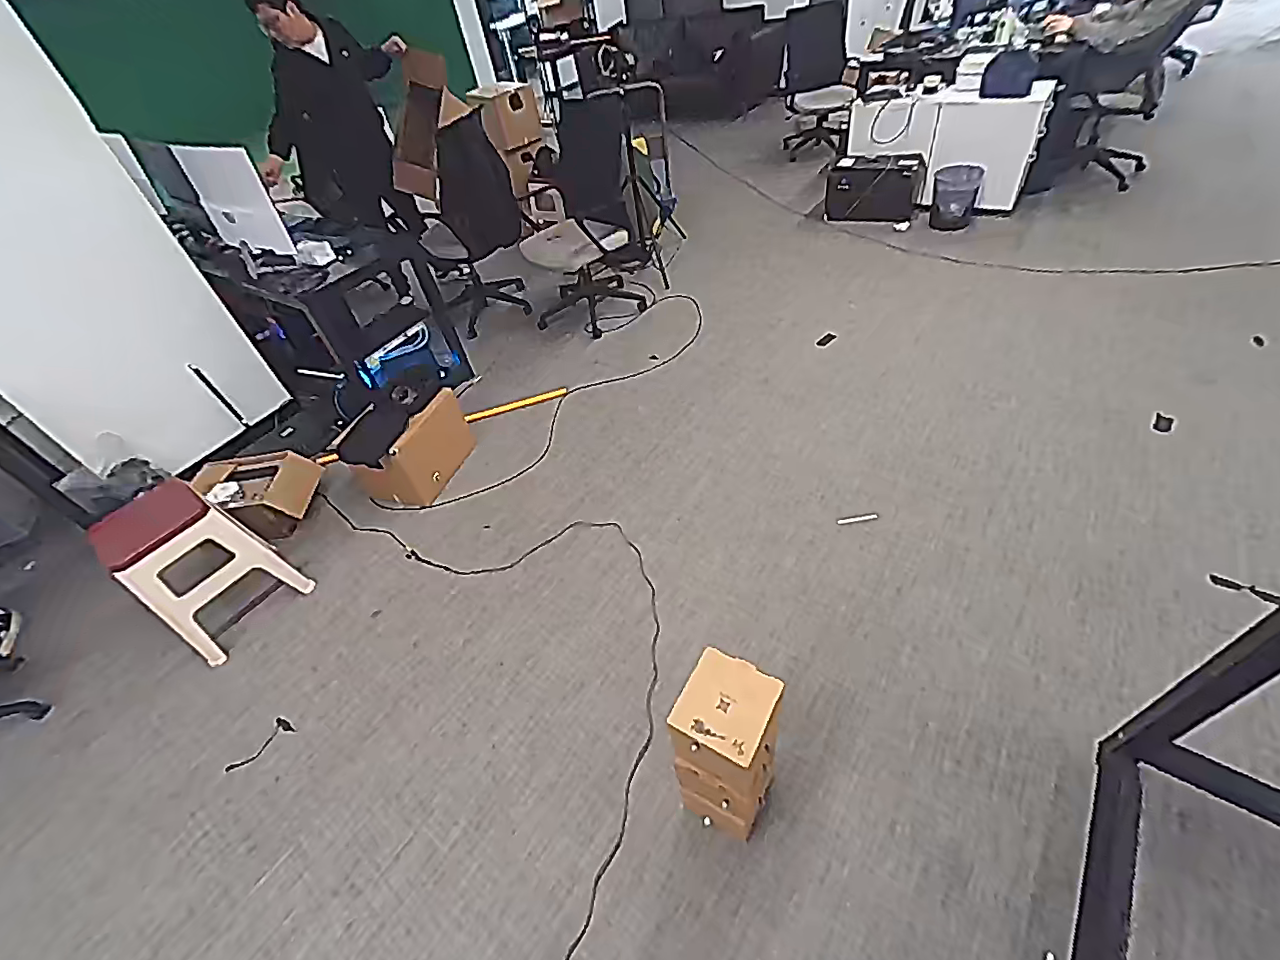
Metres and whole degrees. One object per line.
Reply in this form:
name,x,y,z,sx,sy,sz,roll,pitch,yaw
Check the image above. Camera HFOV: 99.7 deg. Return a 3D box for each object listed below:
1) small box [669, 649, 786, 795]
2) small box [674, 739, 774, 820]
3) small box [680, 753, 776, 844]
small box,0.174,0.478,1.068,0.168,0.176,0.179,19,51,27
small box,0.190,0.600,1.177,0.168,0.176,0.179,17,49,25
small box,0.211,0.719,1.285,0.168,0.176,0.179,19,53,28
